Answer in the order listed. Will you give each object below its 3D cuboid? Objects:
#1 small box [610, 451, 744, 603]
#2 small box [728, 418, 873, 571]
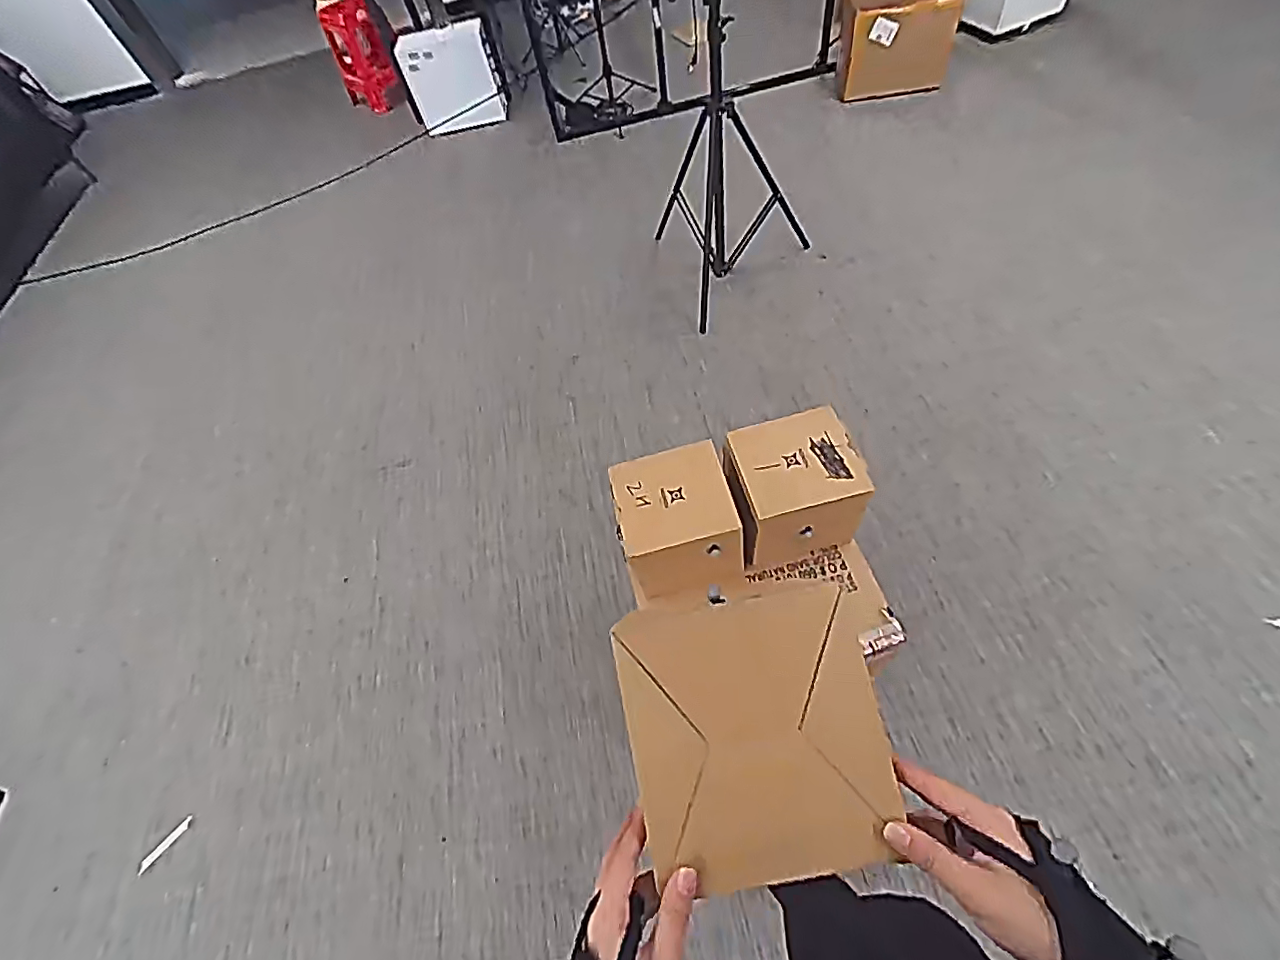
[{"bbox_3d":[0.064,0.082,0.884,0.179,0.176,0.168,-16,56,3],"label":"small box"},{"bbox_3d":[0.247,0.029,0.886,0.179,0.176,0.168,-15,57,0],"label":"small box"}]
